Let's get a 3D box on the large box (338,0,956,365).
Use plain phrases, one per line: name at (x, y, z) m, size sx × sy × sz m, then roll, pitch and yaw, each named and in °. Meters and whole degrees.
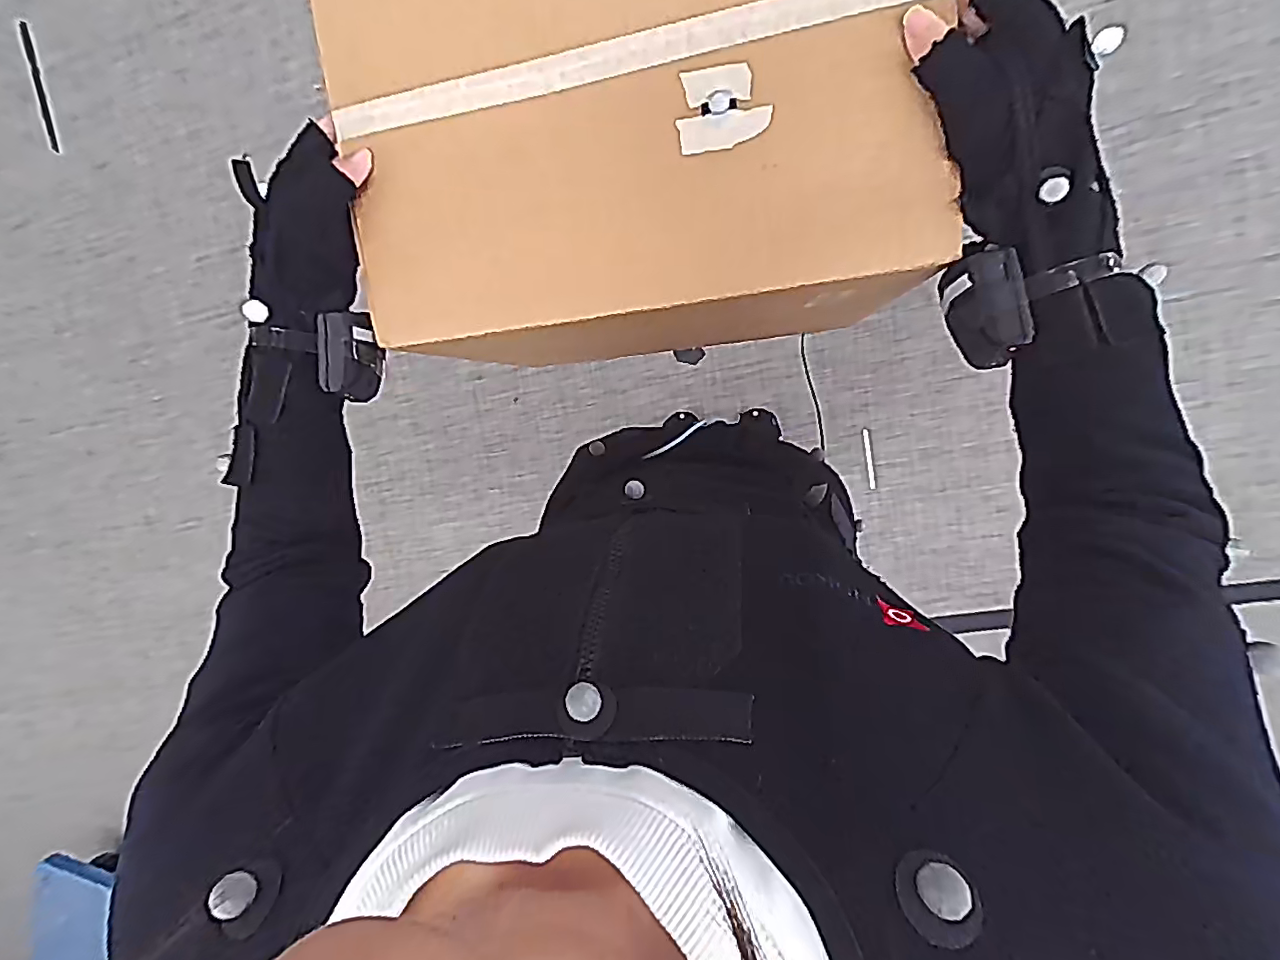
large box at (0.011, -0.299, 0.506) m, size 0.408 × 0.320 × 0.320 m, roll -6°, pitch 98°, yaw 10°
